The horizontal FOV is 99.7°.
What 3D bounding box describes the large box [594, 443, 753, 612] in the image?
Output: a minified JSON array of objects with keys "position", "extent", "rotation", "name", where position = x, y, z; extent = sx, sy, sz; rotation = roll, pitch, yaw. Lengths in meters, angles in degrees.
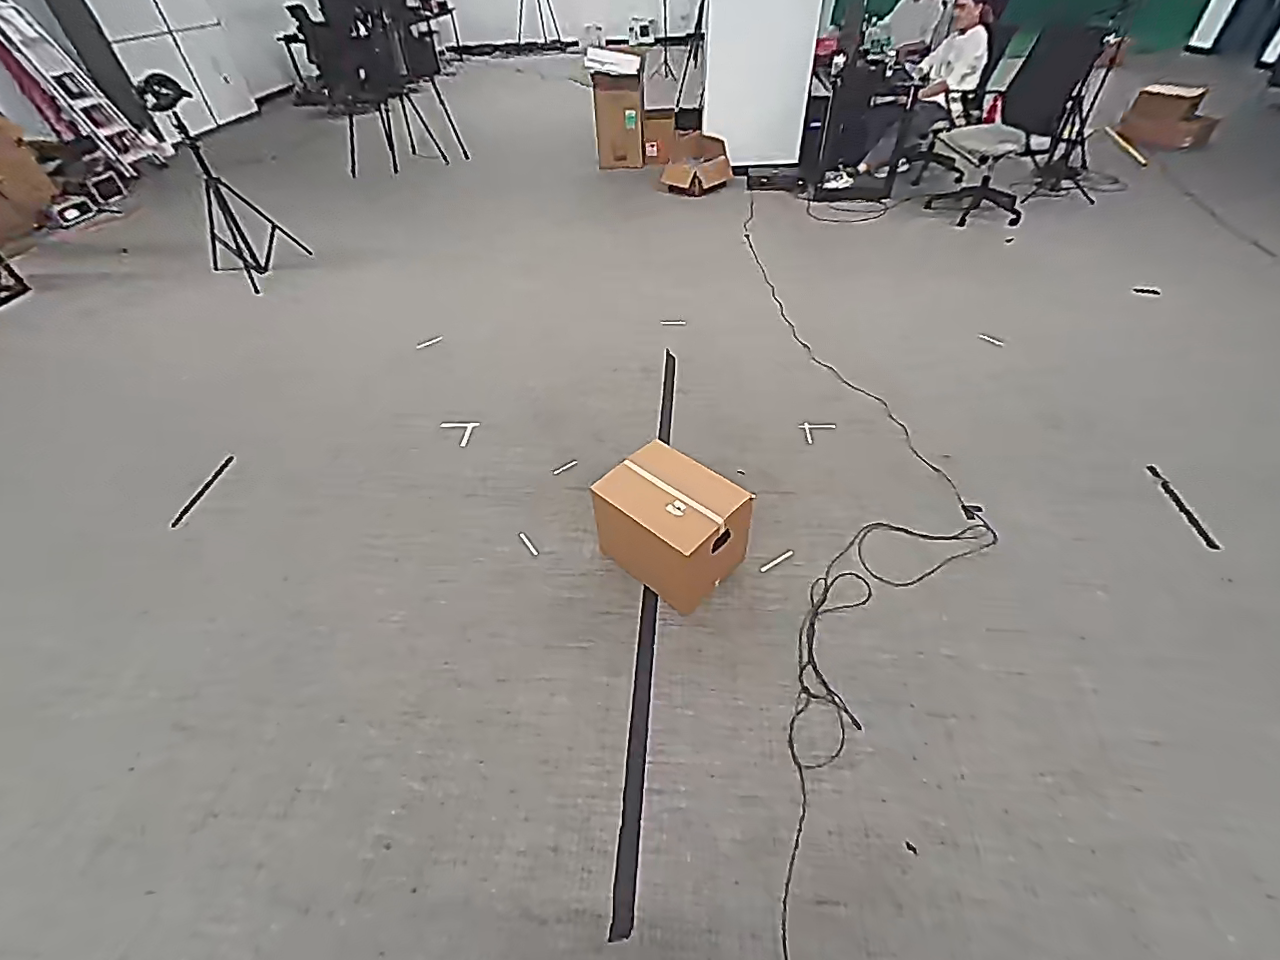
[{"position":[0.101,0.147,1.770],"extent":[0.408,0.320,0.320],"rotation":[34,56,30],"name":"large box"}]
